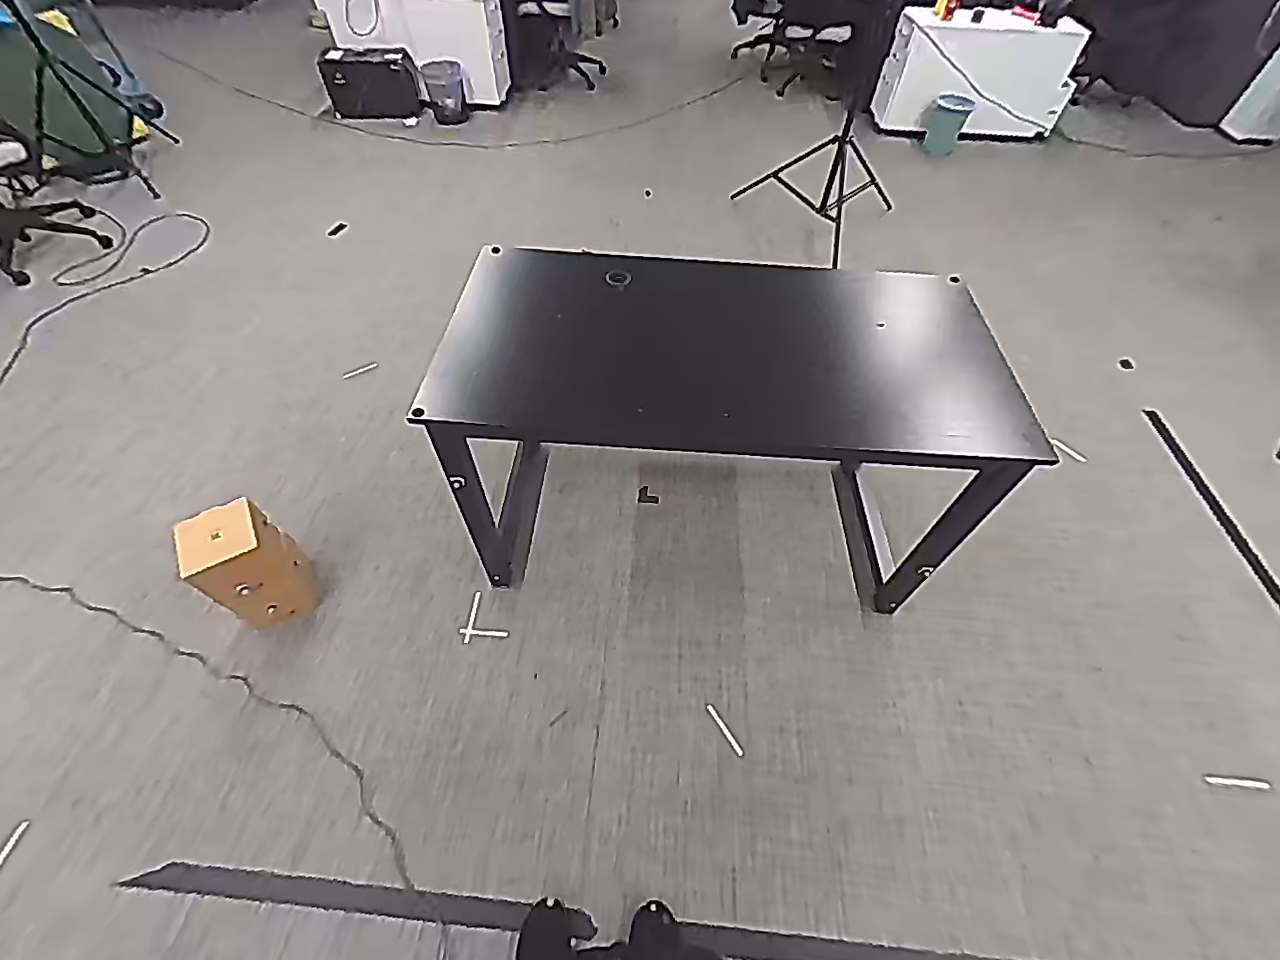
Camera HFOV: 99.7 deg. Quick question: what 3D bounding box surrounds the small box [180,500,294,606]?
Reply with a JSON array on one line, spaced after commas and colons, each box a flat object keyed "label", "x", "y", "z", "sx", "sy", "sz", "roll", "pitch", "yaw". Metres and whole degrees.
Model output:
[{"label": "small box", "x": -1.022, "y": 0.189, "z": 1.379, "sx": 0.168, "sy": 0.176, "sz": 0.179, "roll": -27, "pitch": 59, "yaw": -19}]

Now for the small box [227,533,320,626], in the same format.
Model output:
[{"label": "small box", "x": -1.024, "y": 0.285, "z": 1.511, "sx": 0.168, "sy": 0.176, "sz": 0.179, "roll": -21, "pitch": 56, "yaw": -19}]
